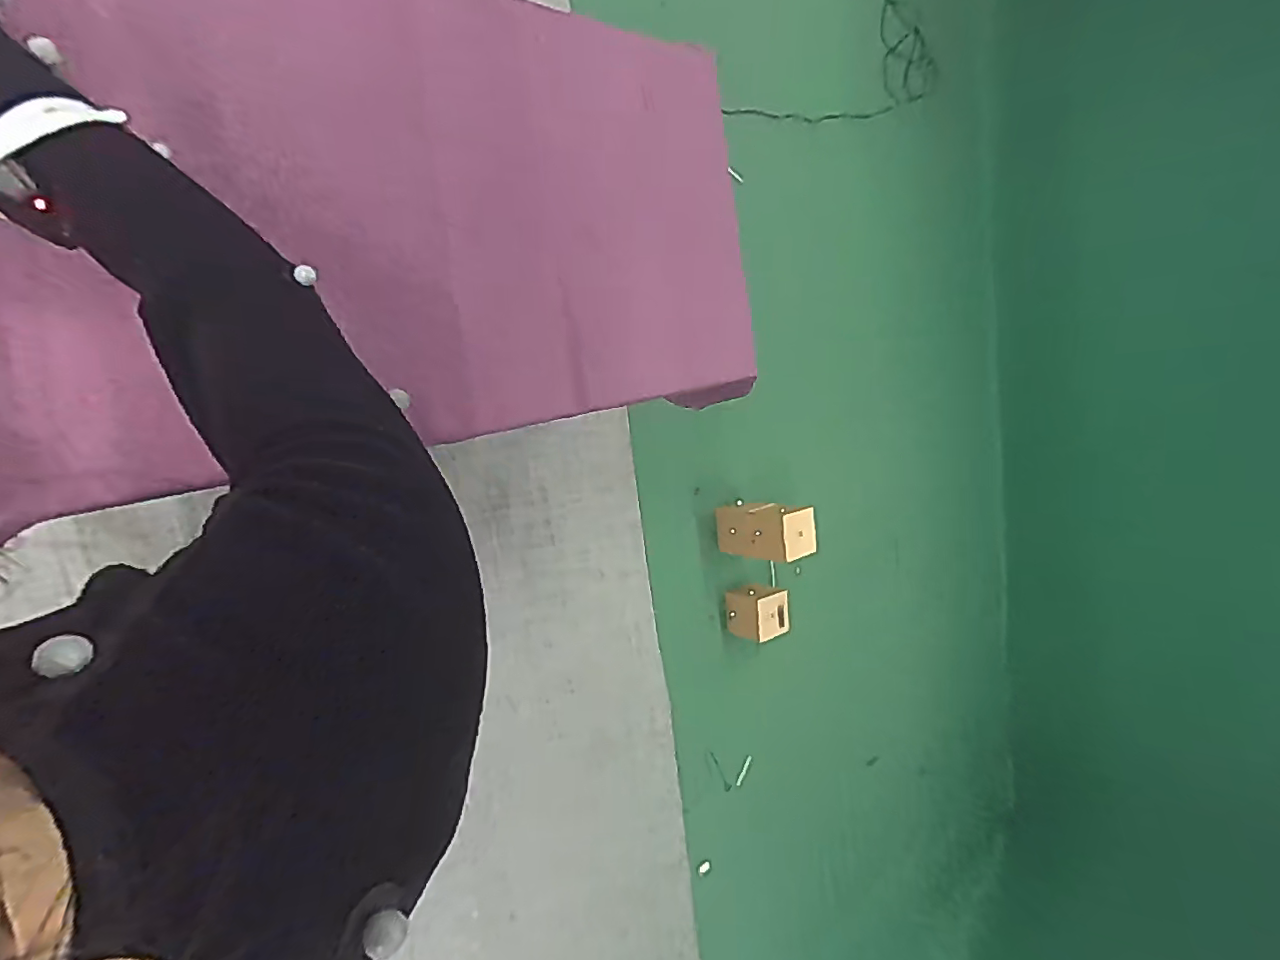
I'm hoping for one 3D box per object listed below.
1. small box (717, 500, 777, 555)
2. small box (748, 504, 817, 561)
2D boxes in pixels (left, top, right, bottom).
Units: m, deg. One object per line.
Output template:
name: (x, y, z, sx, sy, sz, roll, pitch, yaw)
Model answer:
small box: (0.415, 0.178, 2.075, 0.168, 0.176, 0.179, -12, 97, -37)
small box: (0.513, 0.182, 1.944, 0.179, 0.176, 0.168, -11, 97, -36)
